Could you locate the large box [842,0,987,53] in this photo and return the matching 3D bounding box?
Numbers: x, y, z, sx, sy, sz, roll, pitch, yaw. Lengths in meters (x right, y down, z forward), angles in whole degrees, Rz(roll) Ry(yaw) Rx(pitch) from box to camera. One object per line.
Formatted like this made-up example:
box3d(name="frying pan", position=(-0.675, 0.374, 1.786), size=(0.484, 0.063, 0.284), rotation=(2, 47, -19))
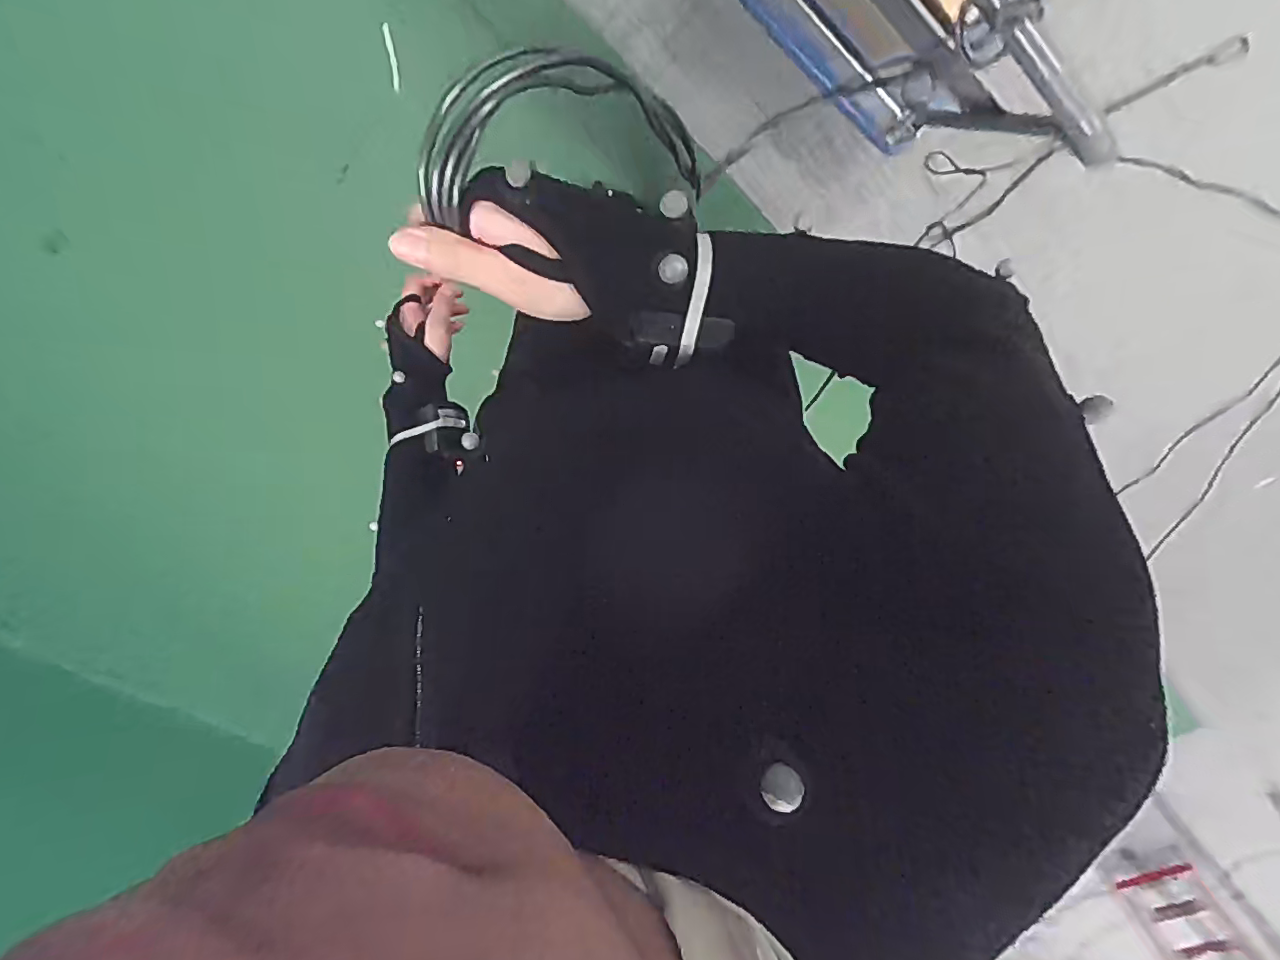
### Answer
box3d(name="large box", position=(0.485, -0.973, 0.811), size=(0.320, 0.320, 0.408), rotation=(33, 116, -20))
